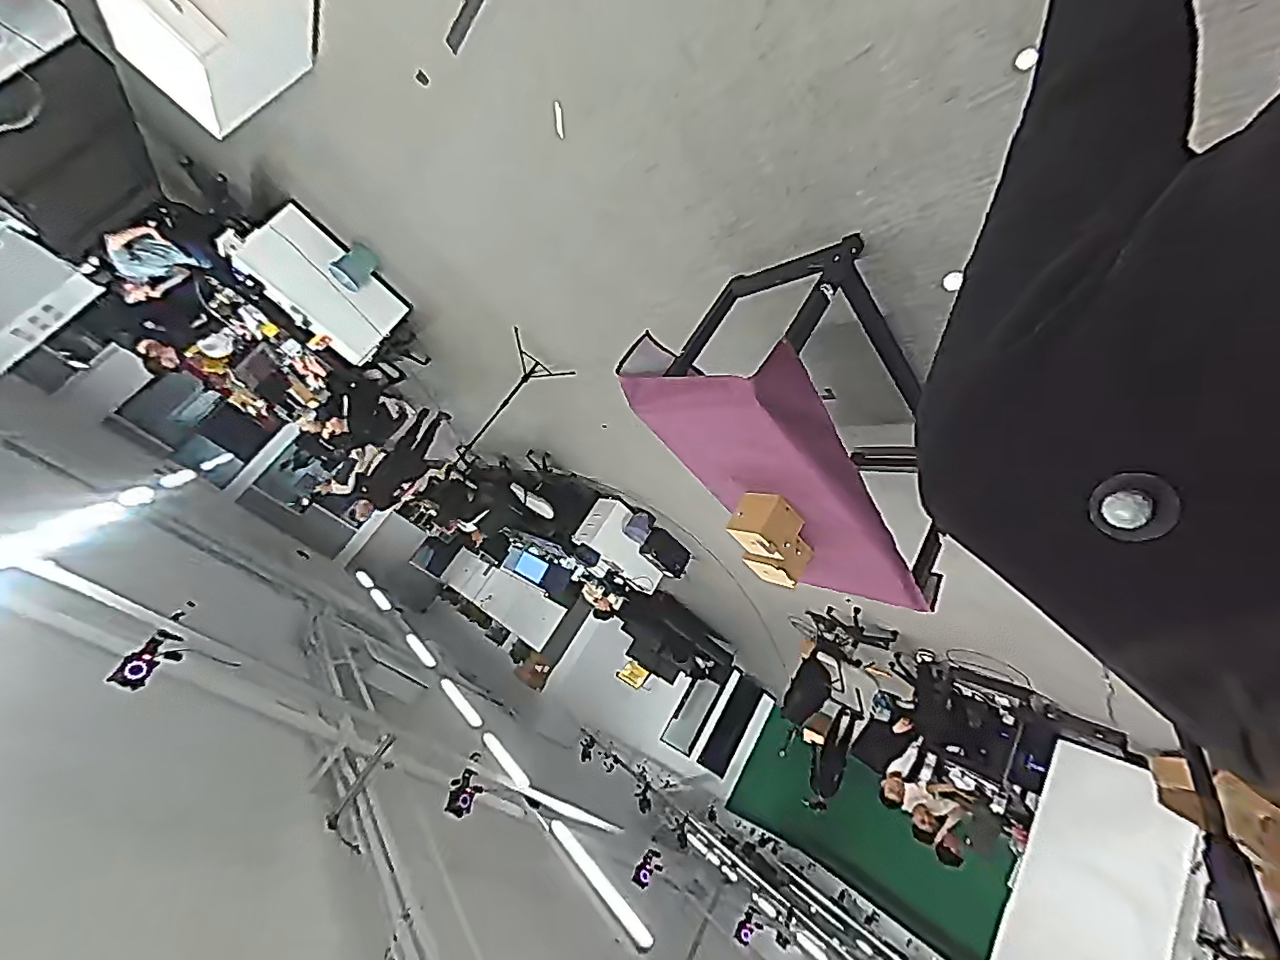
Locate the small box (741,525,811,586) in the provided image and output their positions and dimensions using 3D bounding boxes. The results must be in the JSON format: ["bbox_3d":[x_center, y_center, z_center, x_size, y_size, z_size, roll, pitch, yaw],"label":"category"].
[{"bbox_3d":[0.543,0.294,2.143,0.168,0.176,0.179,43,159,-28],"label":"small box"}]
